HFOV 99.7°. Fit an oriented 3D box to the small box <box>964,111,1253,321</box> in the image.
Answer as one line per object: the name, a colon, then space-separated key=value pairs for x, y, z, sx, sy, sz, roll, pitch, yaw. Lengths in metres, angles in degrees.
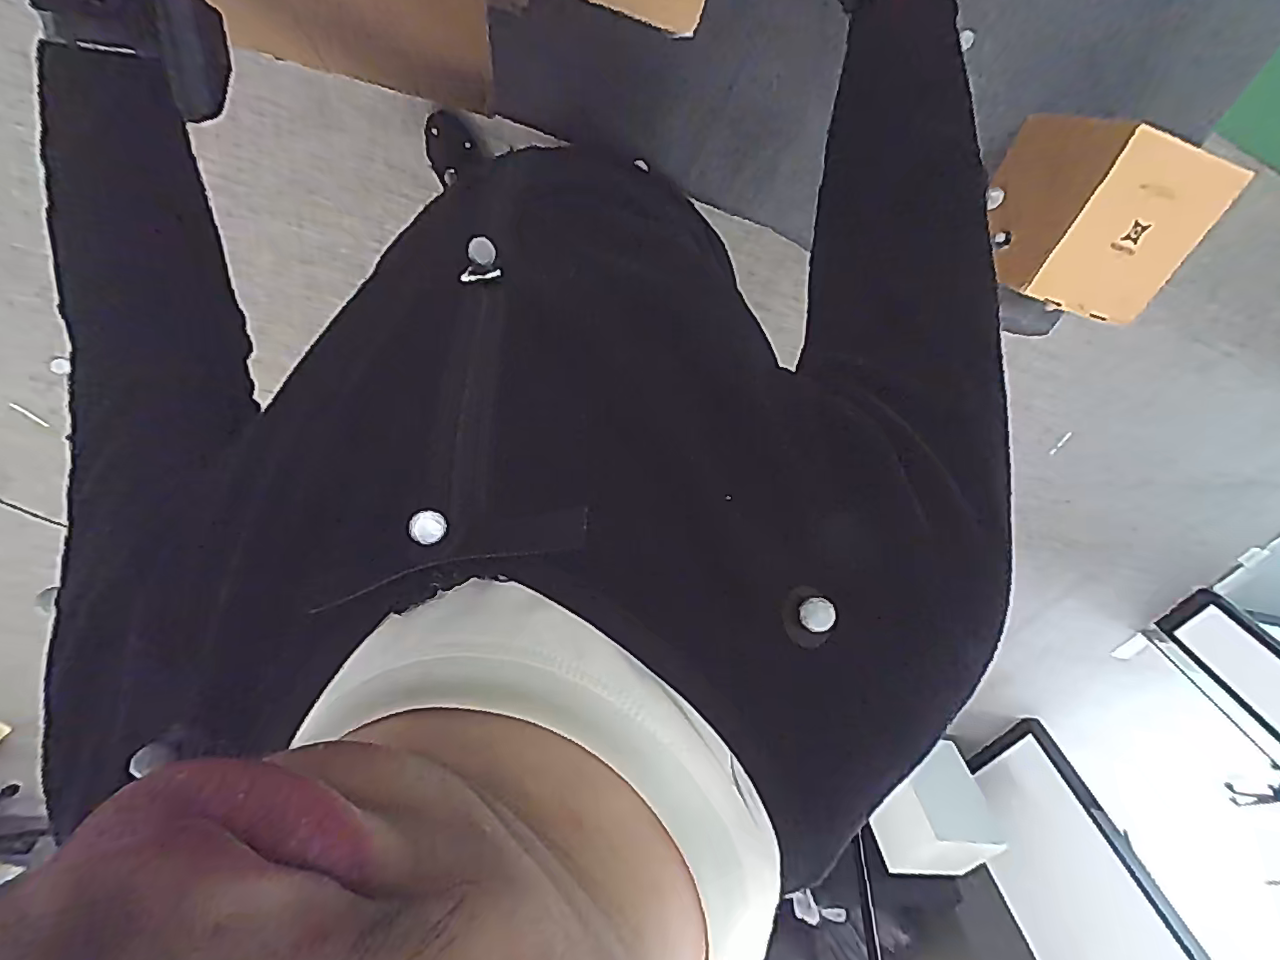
small box: x=0.541 y=-0.324 z=0.662 sx=0.168 sy=0.176 sz=0.179 roll=10 pitch=124 yaw=-14
